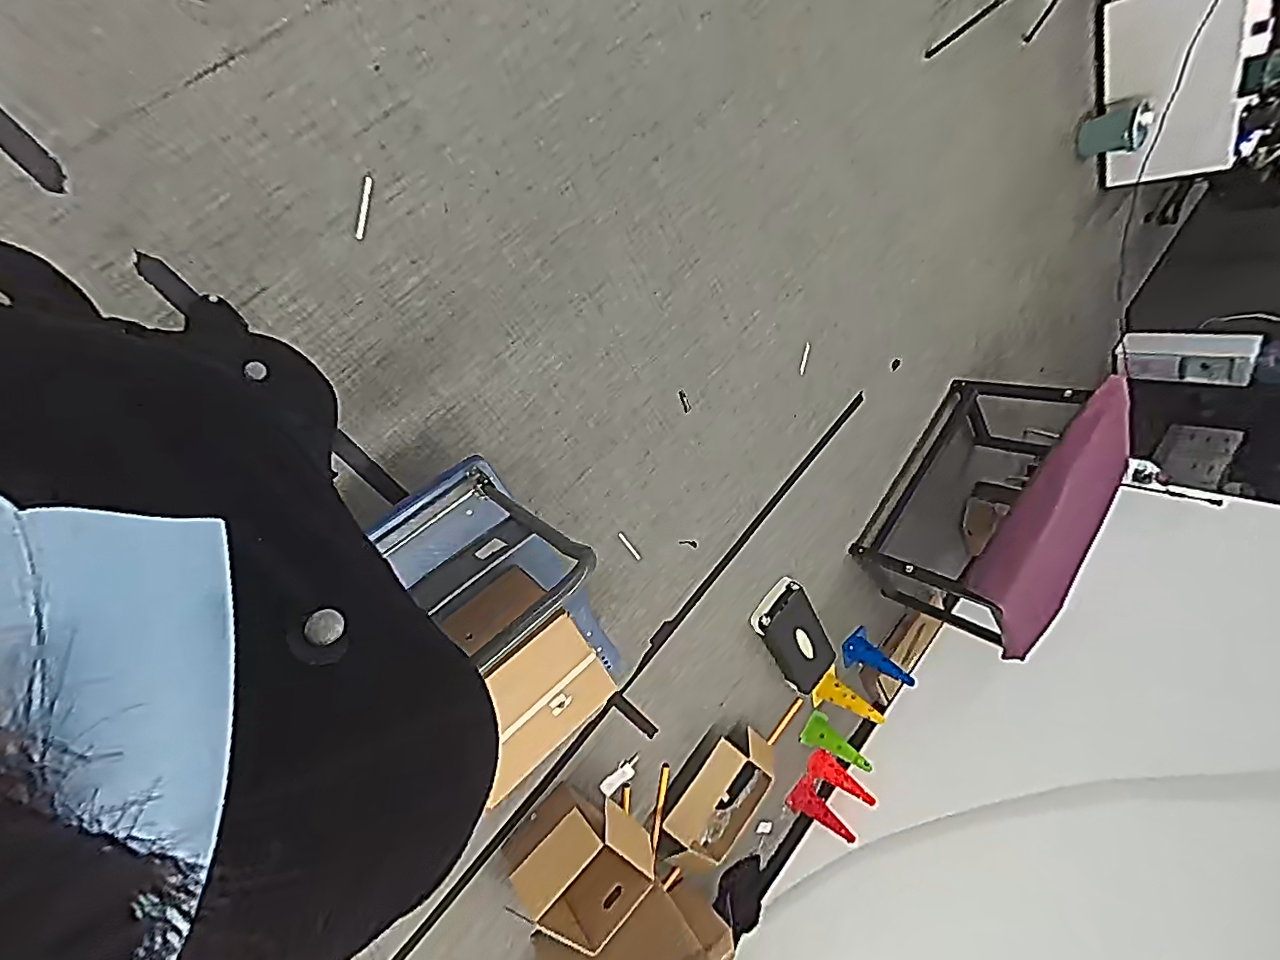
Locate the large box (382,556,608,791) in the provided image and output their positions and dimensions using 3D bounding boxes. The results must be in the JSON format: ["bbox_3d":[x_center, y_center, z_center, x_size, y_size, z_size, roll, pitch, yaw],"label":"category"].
[{"bbox_3d":[-0.368,0.473,1.388,0.408,0.320,0.320,-39,124,-22],"label":"large box"}]
